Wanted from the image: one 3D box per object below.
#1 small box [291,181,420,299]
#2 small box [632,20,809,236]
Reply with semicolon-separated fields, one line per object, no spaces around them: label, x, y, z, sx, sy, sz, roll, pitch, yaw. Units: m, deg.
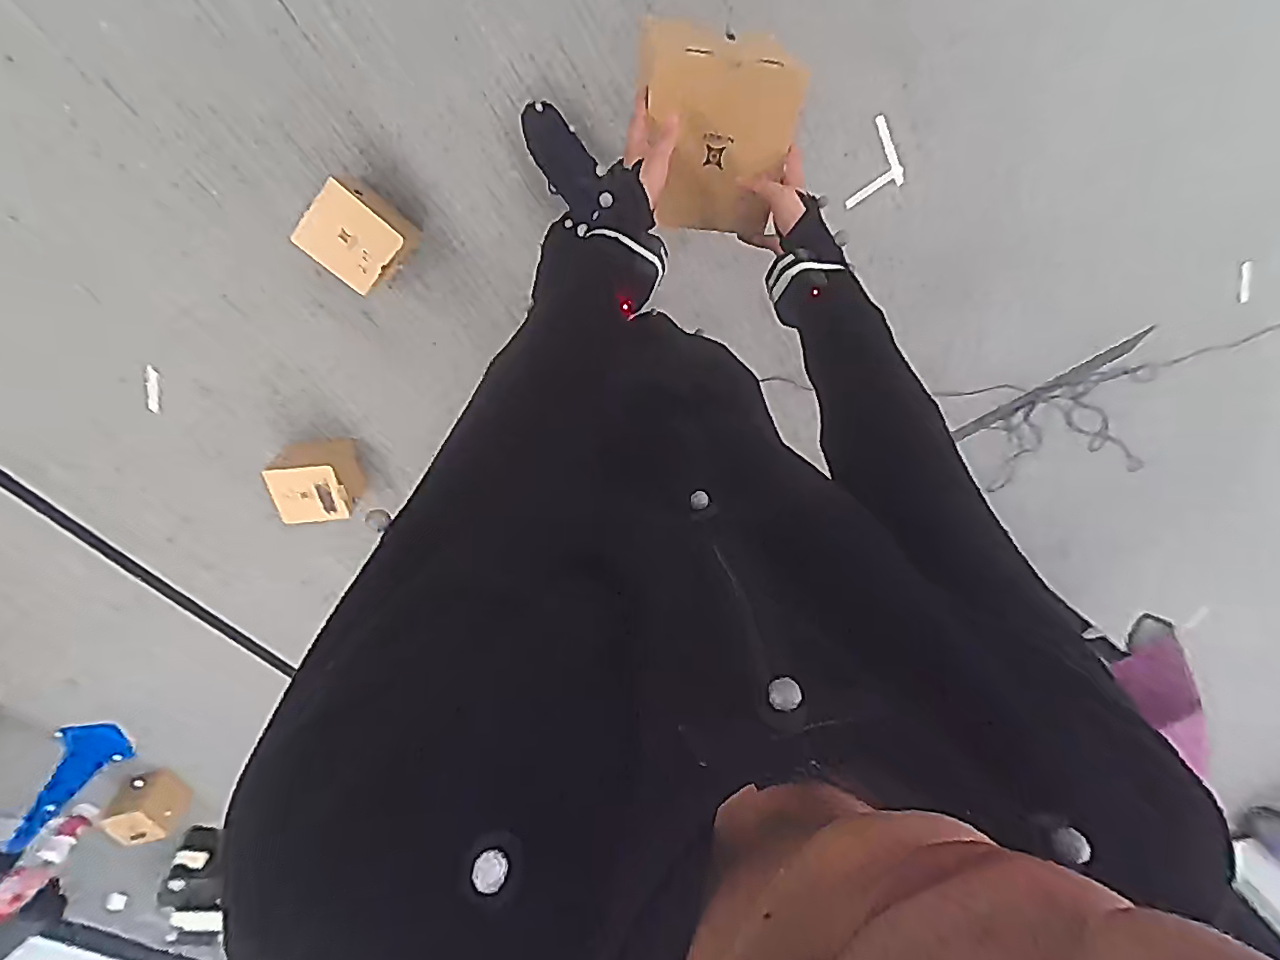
small box;-0.632;-0.543;1.223;0.179;0.176;0.168;38;107;-25
small box;0.080;-0.424;0.655;0.168;0.176;0.179;2;136;-7
